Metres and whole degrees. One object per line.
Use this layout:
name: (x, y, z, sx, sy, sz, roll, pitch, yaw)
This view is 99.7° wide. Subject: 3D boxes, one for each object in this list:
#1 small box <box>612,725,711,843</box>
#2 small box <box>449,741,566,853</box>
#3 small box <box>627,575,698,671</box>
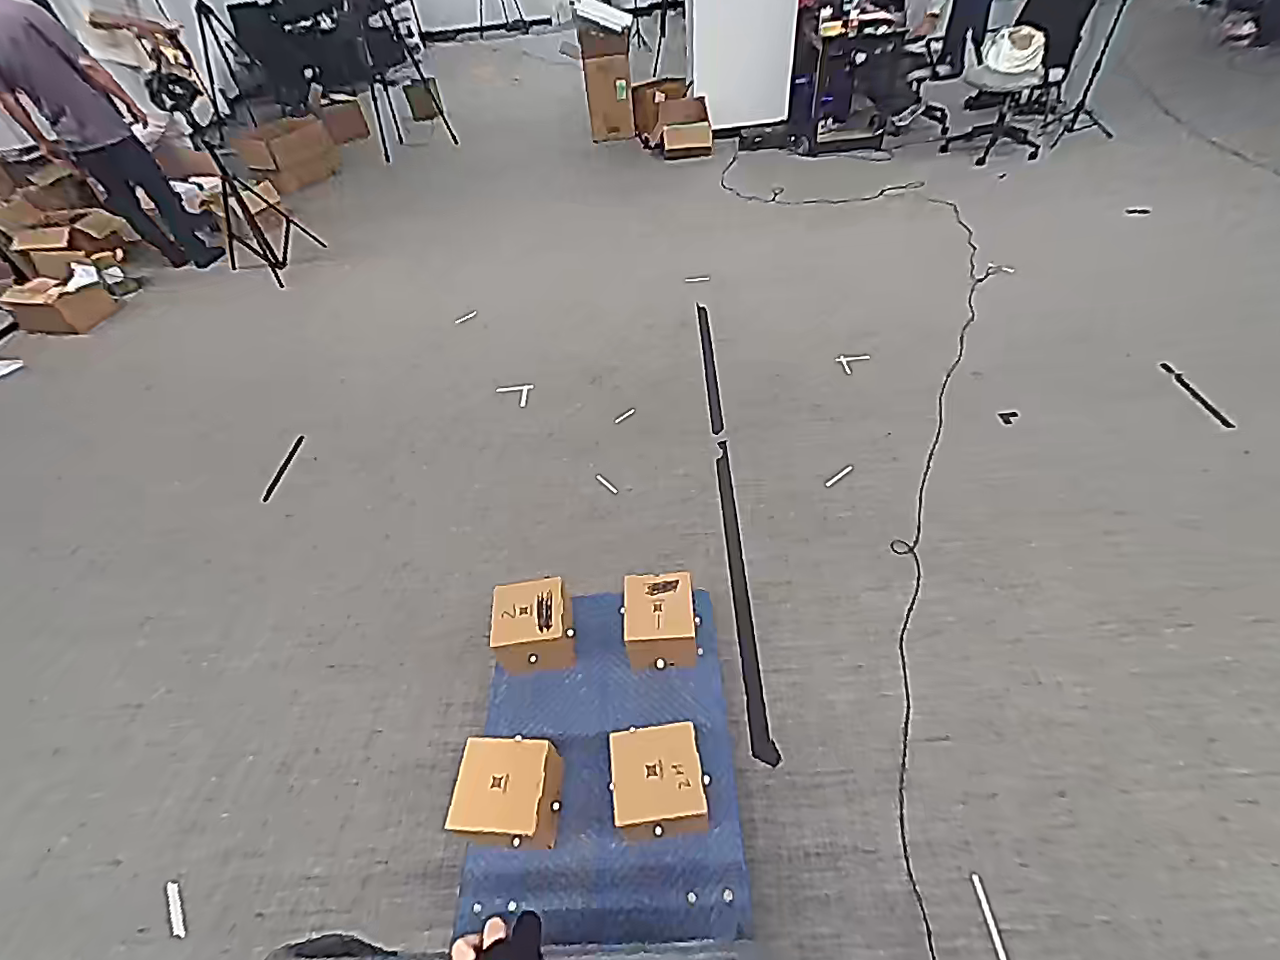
small box: (0.045, 0.623, 1.102, 0.179, 0.176, 0.168, -8, 47, 0)
small box: (-0.262, 0.655, 1.115, 0.179, 0.176, 0.168, 0, 46, 5)
small box: (0.057, 0.357, 1.347, 0.168, 0.176, 0.179, -4, 48, 4)
